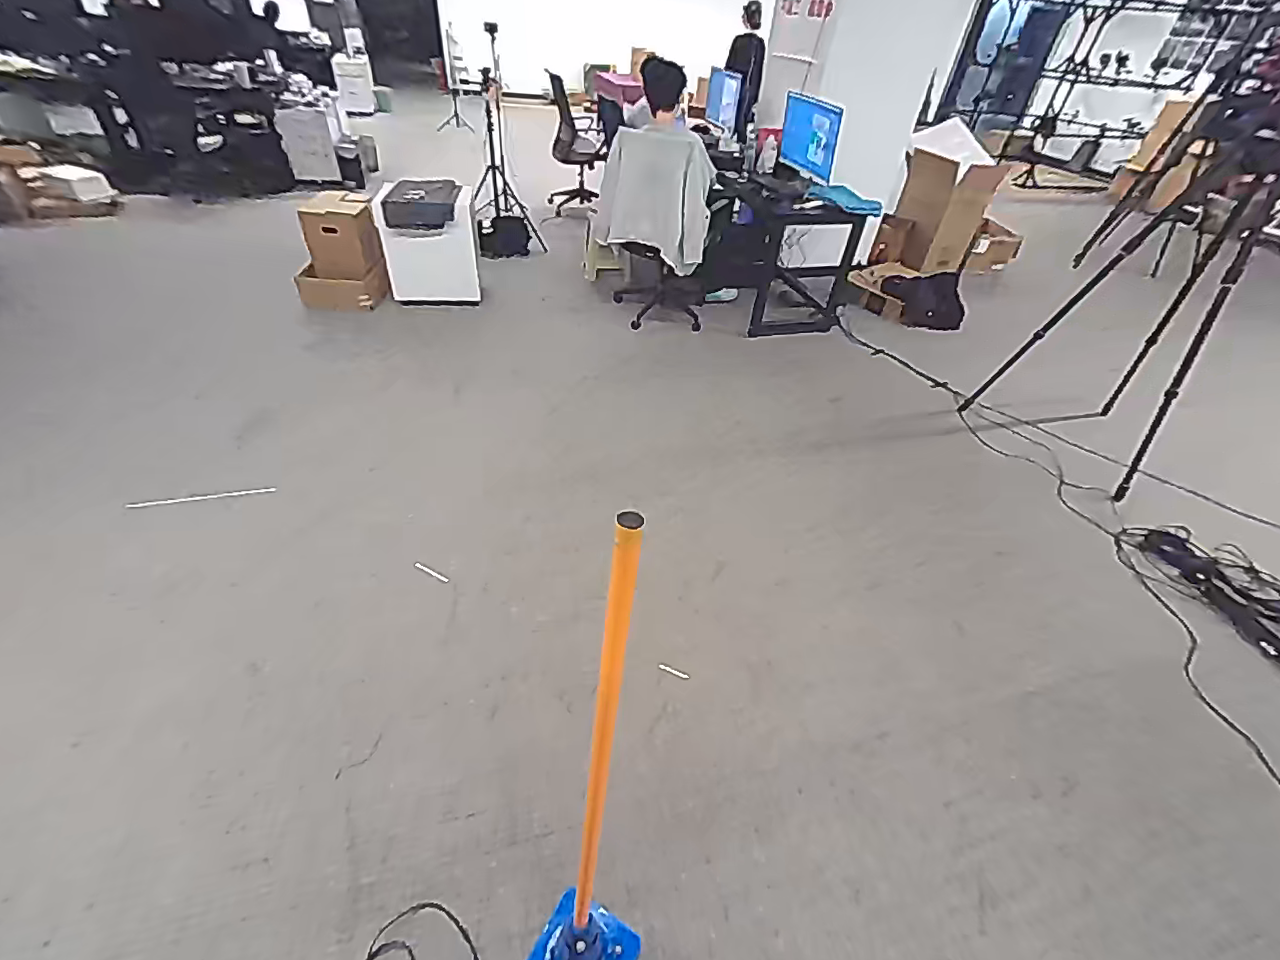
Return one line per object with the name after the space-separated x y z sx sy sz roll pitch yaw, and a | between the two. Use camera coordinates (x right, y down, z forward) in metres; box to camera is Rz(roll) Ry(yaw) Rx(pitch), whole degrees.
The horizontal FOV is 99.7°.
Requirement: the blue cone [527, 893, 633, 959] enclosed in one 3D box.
-0.113 0.870 1.020 0.192 0.380 0.193 22 41 19 | blue cone
